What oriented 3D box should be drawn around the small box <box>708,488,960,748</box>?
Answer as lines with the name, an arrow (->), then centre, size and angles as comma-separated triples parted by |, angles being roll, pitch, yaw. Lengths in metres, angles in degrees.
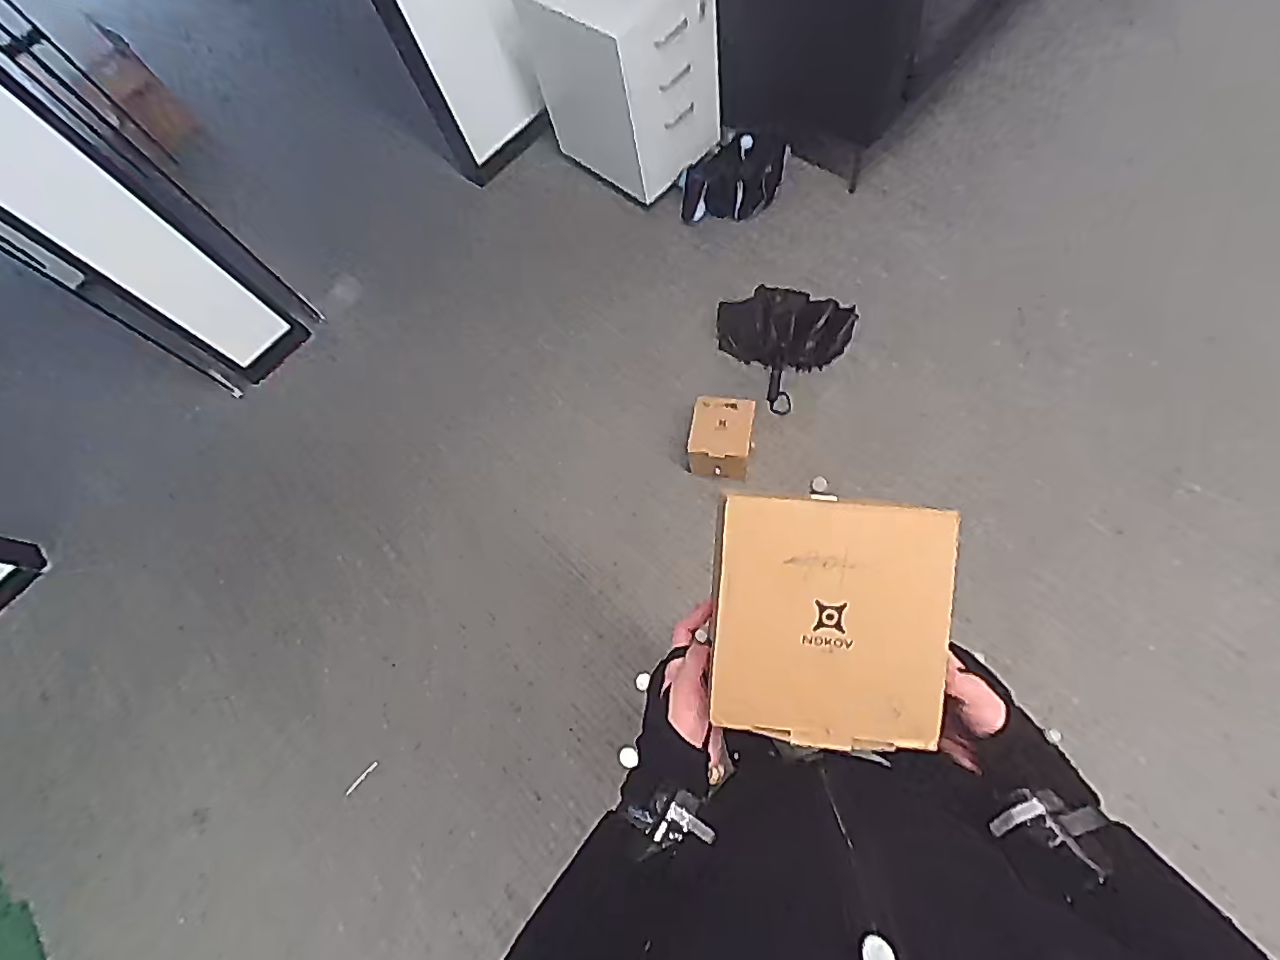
small box -> 0.149, 0.101, 0.475 | 0.168, 0.176, 0.179 | 4, 91, 5
